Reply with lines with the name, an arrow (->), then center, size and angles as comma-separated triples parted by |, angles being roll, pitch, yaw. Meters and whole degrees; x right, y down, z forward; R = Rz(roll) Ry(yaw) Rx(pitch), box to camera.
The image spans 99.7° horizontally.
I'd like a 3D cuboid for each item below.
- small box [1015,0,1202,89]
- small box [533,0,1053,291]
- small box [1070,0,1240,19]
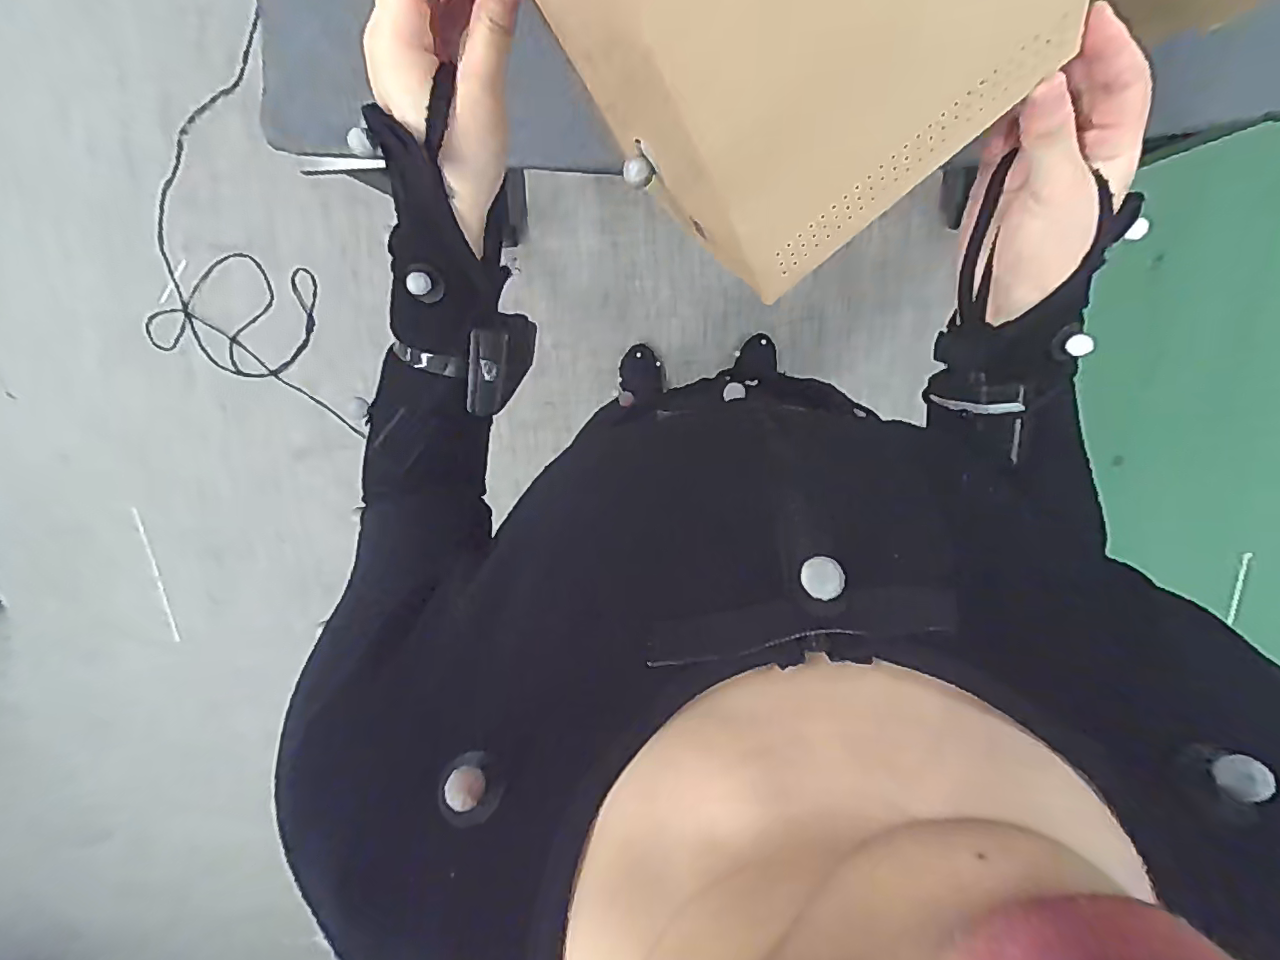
small box -> 0.414, -0.503, 0.507 | 0.168, 0.176, 0.179 | 1, 104, 5
small box -> 0.057, -0.229, 0.243 | 0.179, 0.176, 0.168 | -38, 55, 13
small box -> 0.402, -0.449, 0.353 | 0.179, 0.176, 0.168 | 11, 104, 3
